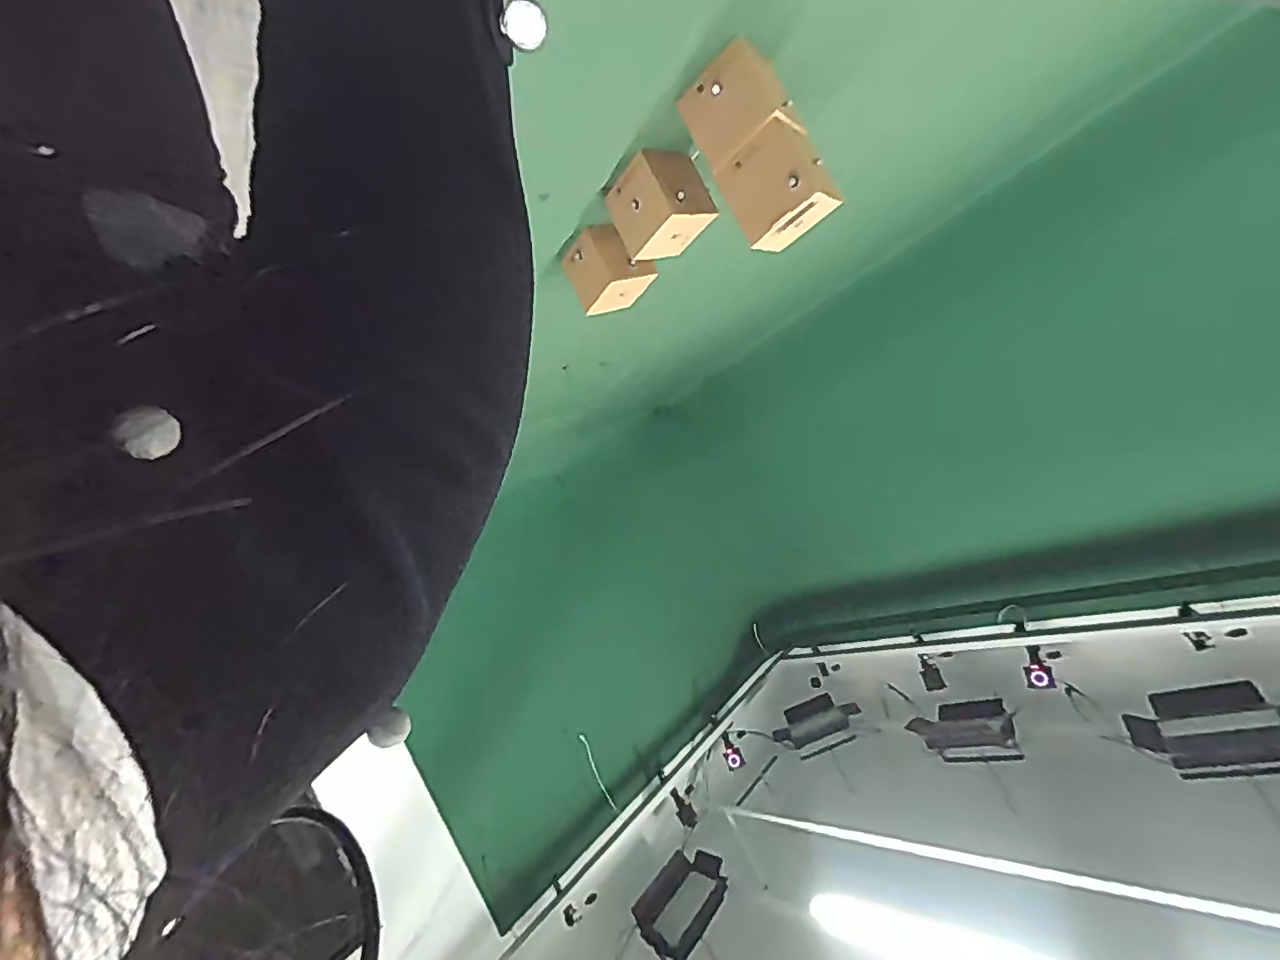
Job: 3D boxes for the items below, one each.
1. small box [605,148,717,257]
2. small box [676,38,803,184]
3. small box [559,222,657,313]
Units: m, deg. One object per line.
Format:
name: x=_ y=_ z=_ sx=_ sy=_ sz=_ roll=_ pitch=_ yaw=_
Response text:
small box: x=0.045 y=-0.668 z=1.304 sx=0.179 sy=0.176 sz=0.168 roll=-28 pitch=180 yaw=-40
small box: x=0.207 y=-0.759 z=1.125 sx=0.168 sy=0.176 sz=0.179 roll=-30 pitch=176 yaw=37
small box: x=-0.092 y=-0.593 z=1.497 sx=0.179 sy=0.176 sz=0.168 roll=-27 pitch=178 yaw=-37
